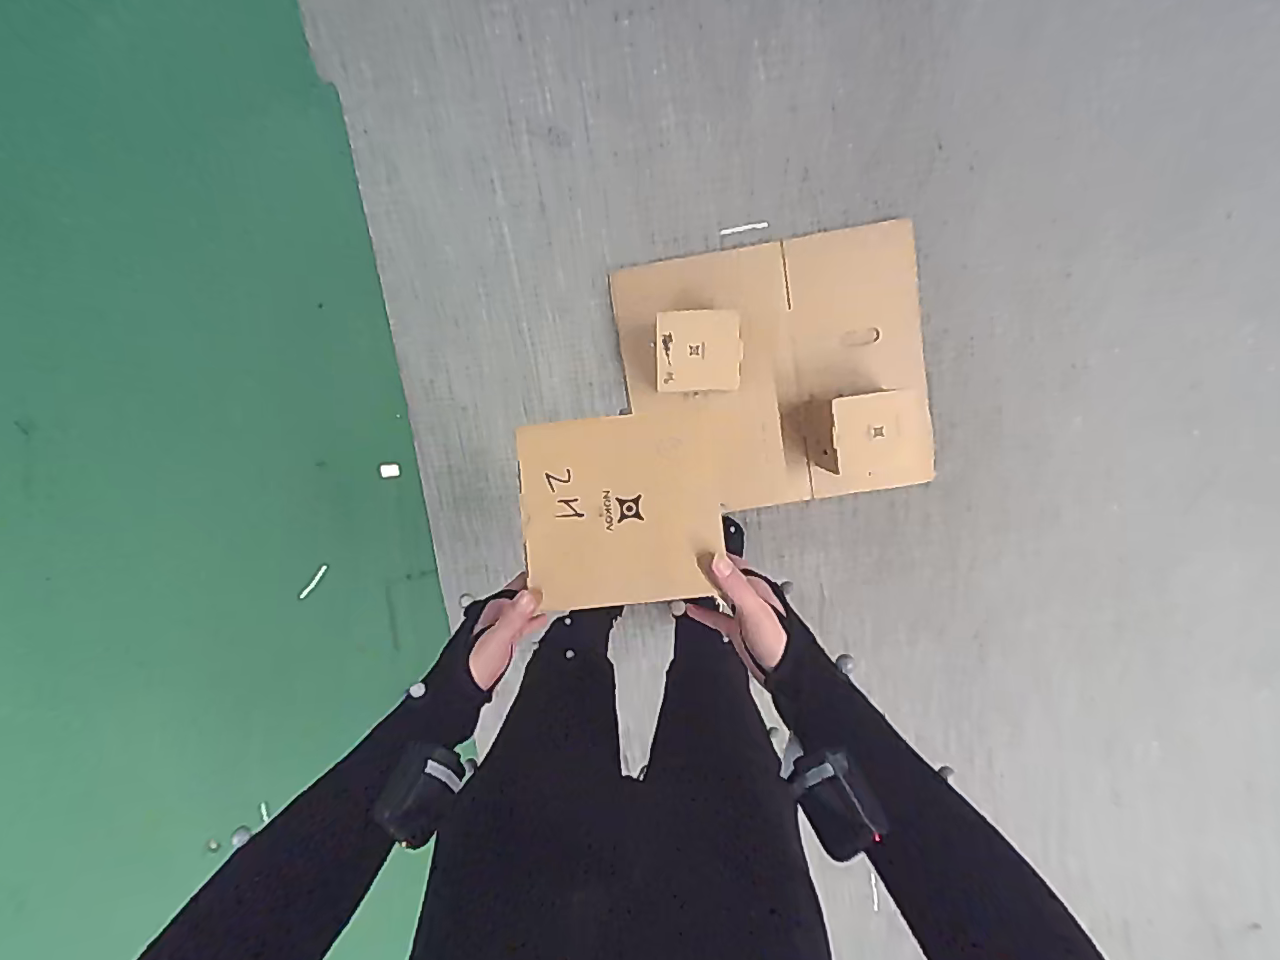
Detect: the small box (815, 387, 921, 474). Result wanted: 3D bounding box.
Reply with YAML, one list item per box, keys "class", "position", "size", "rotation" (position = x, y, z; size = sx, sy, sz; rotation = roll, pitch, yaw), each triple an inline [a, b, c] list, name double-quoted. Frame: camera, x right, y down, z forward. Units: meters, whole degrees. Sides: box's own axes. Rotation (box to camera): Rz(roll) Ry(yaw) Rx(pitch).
- class: "small box"
  position: [0.496, -0.111, 1.203]
  size: [0.179, 0.176, 0.168]
  rotation: [-7, 98, 4]

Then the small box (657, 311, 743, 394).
- class: "small box"
  position: [0.127, -0.277, 1.195]
  size: [0.179, 0.176, 0.168]
  rotation: [0, 98, 3]

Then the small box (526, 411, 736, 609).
- class: "small box"
  position: [-0.008, 0.033, 0.552]
  size: [0.179, 0.176, 0.168]
  rotation: [-5, 83, 2]
